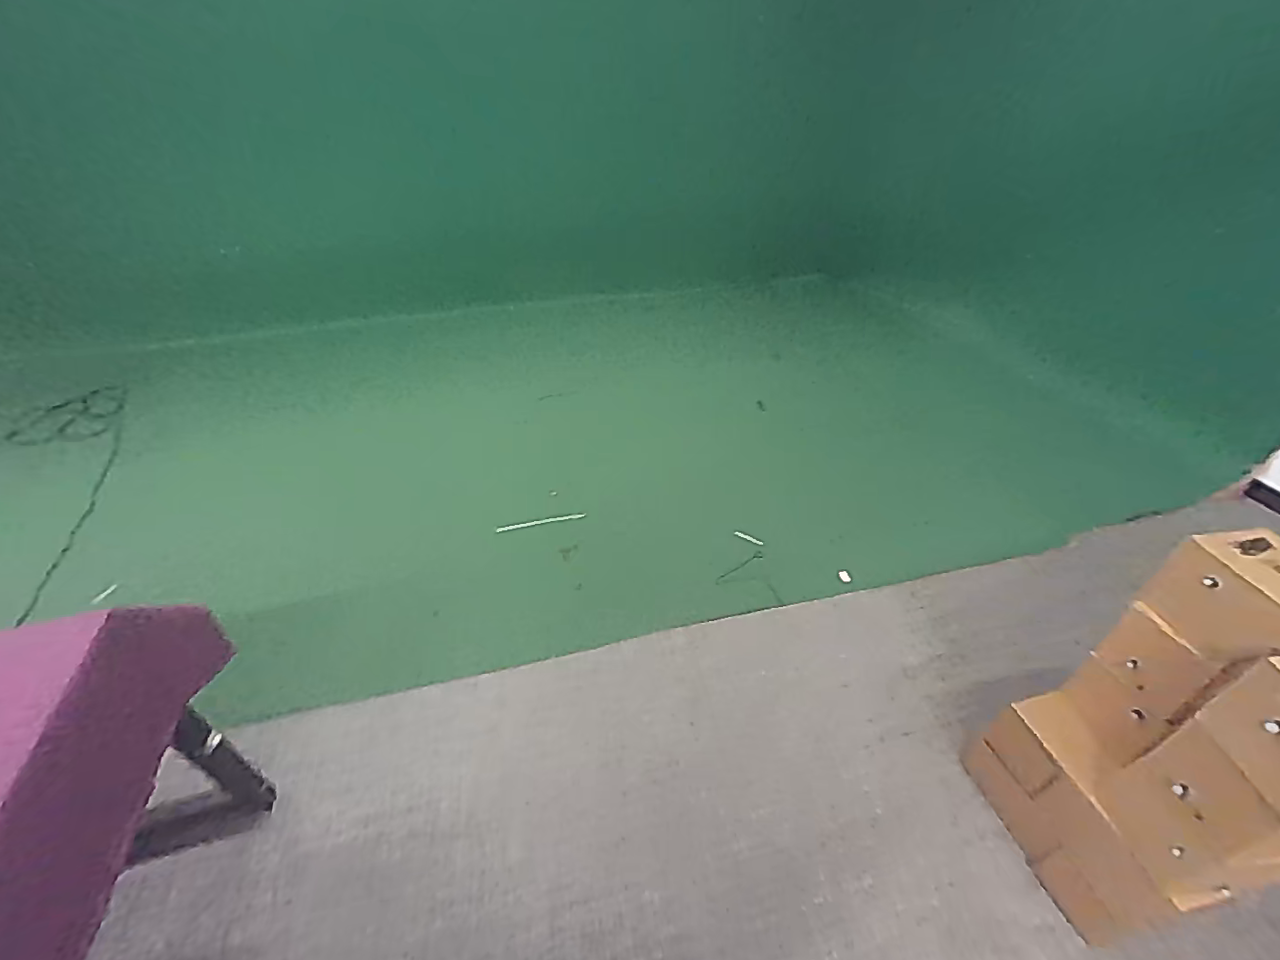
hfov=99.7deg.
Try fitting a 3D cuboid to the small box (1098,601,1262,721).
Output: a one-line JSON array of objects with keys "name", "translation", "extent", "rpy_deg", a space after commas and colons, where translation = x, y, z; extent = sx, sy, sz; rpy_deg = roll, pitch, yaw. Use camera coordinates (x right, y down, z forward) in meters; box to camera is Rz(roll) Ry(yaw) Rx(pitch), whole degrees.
[{"name": "small box", "translation": [1.075, 0.345, 1.067], "extent": [0.179, 0.176, 0.168], "rpy_deg": [-9, 39, -10]}]

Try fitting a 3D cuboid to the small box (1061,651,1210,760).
[{"name": "small box", "translation": [1.076, 0.476, 1.164], "extent": [0.168, 0.176, 0.179], "rpy_deg": [-8, 38, -12]}]

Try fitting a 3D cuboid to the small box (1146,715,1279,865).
[{"name": "small box", "translation": [0.998, 0.494, 0.873], "extent": [0.179, 0.176, 0.168], "rpy_deg": [-4, 38, -4]}]

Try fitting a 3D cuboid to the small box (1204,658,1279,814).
[{"name": "small box", "translation": [0.982, 0.374, 0.760], "extent": [0.168, 0.176, 0.179], "rpy_deg": [-1, 37, 0]}]

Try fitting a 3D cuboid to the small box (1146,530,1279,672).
[{"name": "small box", "translation": [1.084, 0.214, 0.967], "extent": [0.168, 0.176, 0.179], "rpy_deg": [-5, 38, -6]}]
